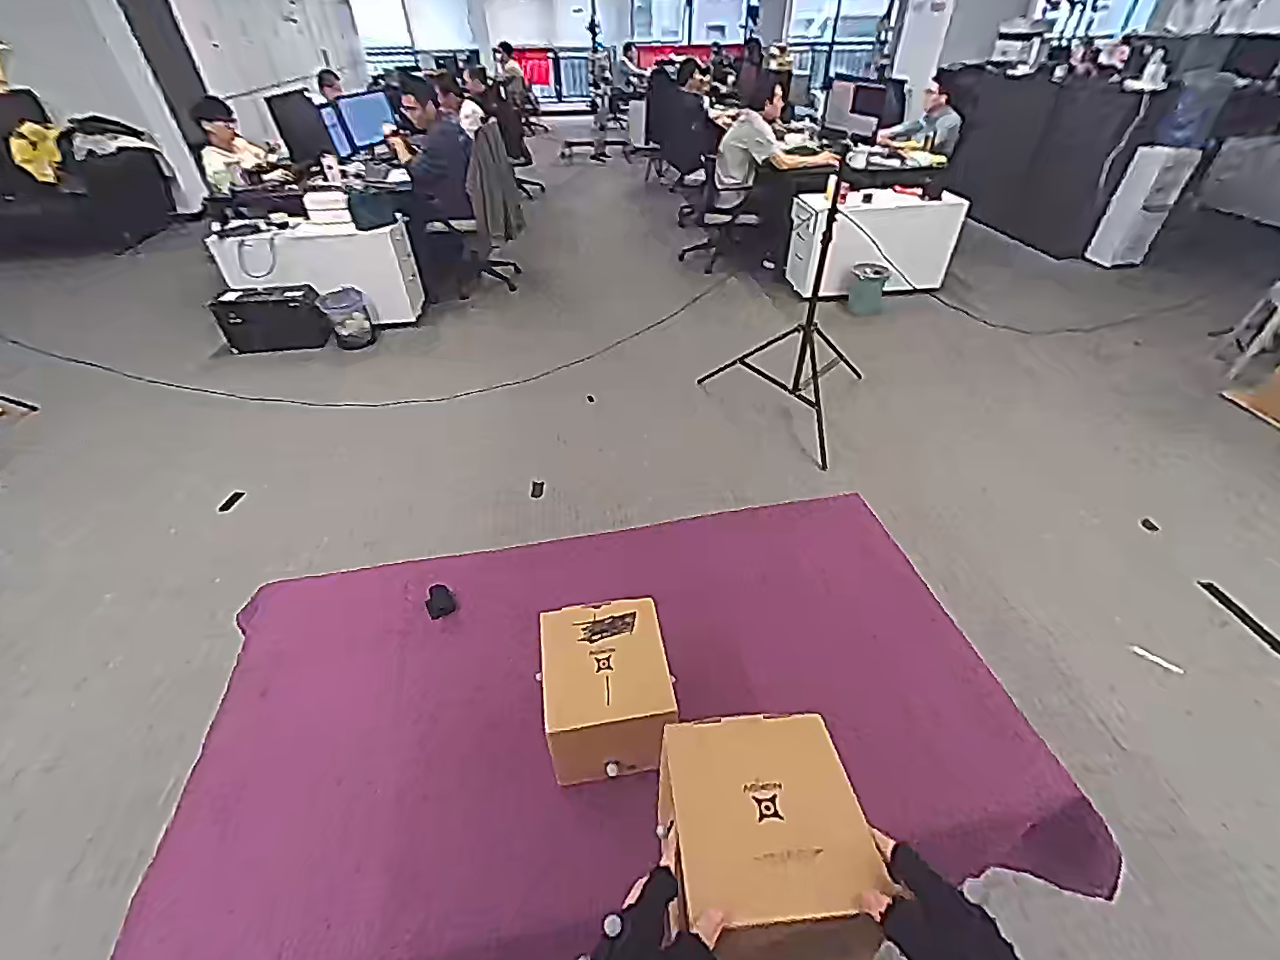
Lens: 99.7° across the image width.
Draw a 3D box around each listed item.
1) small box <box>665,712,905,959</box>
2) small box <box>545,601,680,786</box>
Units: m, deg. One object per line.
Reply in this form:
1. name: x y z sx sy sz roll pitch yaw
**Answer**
1. small box: 0.115 0.355 0.519 0.168 0.176 0.179 -3 30 -4
2. small box: -0.044 0.302 0.772 0.168 0.176 0.179 -7 41 -7
